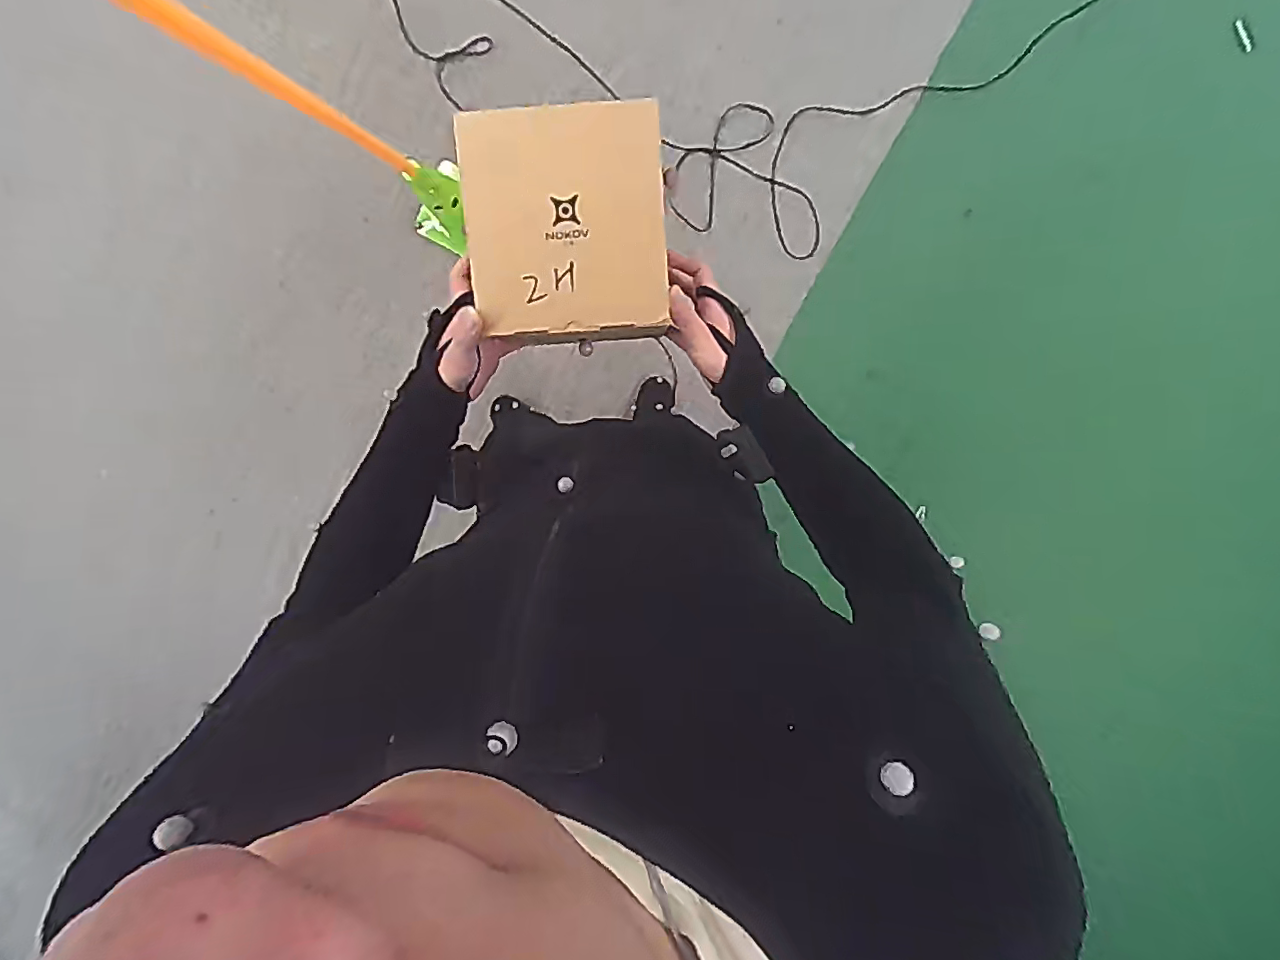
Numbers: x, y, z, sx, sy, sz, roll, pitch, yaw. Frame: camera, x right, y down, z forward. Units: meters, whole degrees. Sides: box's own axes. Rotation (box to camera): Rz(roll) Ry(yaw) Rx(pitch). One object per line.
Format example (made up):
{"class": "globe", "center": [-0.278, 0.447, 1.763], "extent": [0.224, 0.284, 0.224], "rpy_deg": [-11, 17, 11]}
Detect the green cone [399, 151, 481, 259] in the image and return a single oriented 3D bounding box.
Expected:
{"class": "green cone", "center": [-0.482, -0.685, 1.280], "extent": [0.200, 0.368, 0.202], "rpy_deg": [26, 100, -8]}

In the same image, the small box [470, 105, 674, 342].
{"class": "small box", "center": [-0.056, -0.231, 0.530], "extent": [0.168, 0.176, 0.179], "rpy_deg": [-2, 102, 0]}
